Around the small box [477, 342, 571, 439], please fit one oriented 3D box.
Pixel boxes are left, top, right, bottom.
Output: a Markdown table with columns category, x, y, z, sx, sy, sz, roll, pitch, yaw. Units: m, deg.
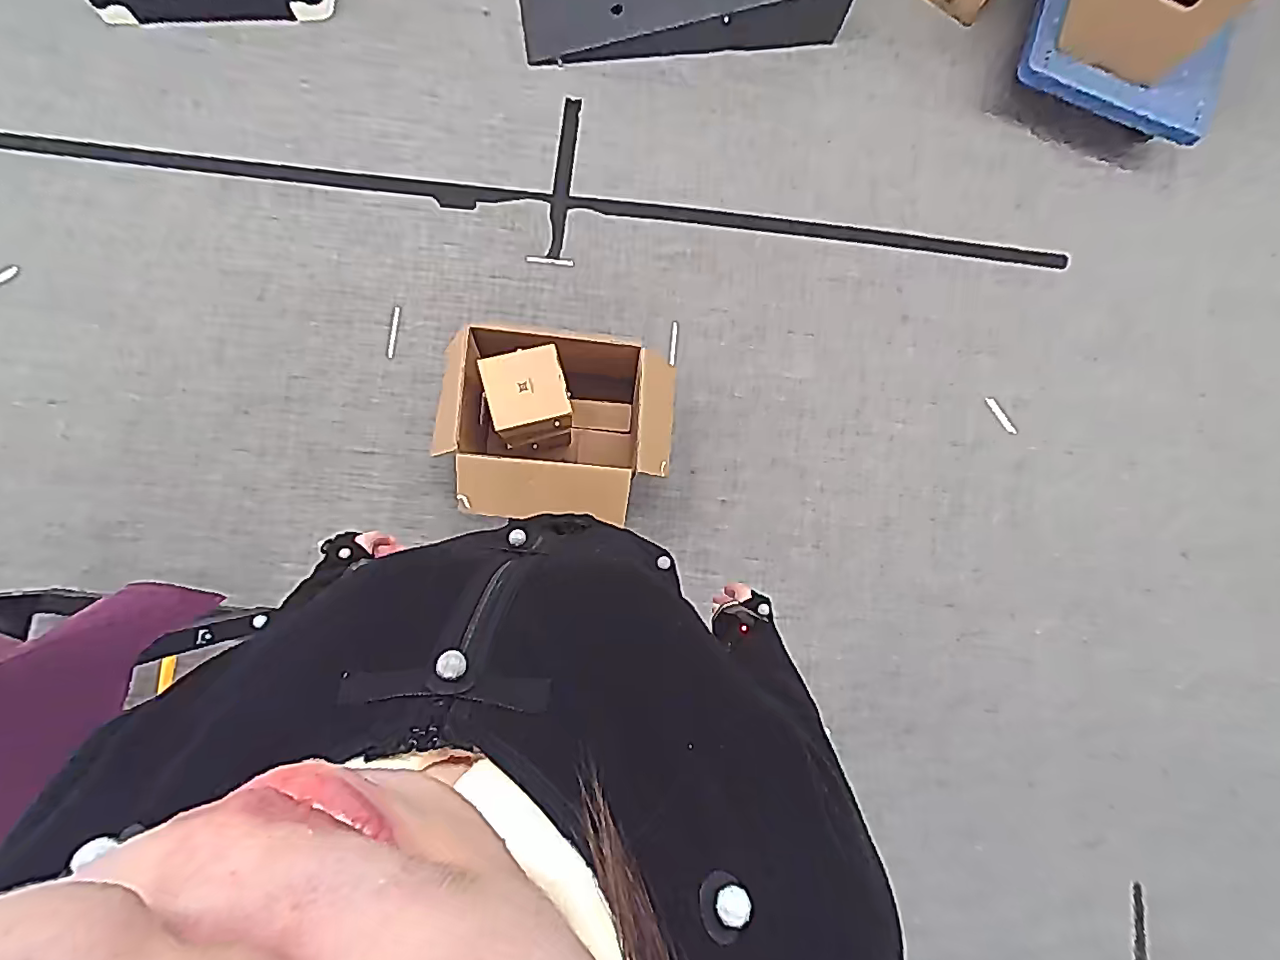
| category | x | y | z | sx | sy | sz | roll | pitch | yaw |
| --- | --- | --- | --- | --- | --- | --- | --- | --- | --- |
| small box | -0.266 | -0.204 | 1.275 | 0.179 | 0.176 | 0.168 | -15 | 87 | -9 |
